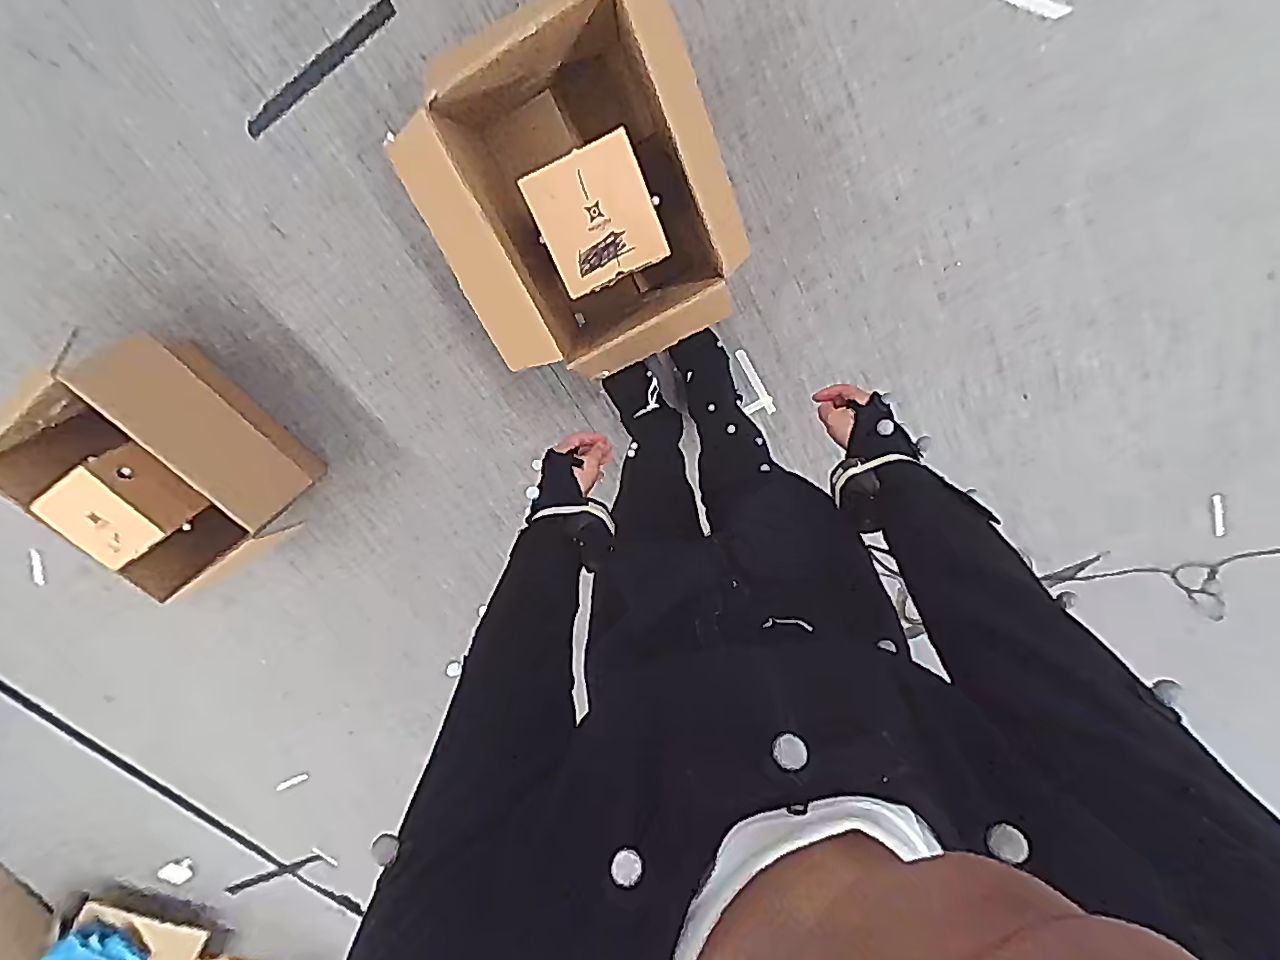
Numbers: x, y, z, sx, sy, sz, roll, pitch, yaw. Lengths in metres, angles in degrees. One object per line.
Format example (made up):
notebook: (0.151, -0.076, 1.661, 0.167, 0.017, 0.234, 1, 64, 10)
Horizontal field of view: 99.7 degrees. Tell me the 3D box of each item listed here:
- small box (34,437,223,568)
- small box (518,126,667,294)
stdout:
small box: (-1.005, 0.035, 1.079, 0.168, 0.176, 0.179, -29, 114, 15)
small box: (-0.067, -0.416, 0.849, 0.168, 0.176, 0.179, -22, 113, 8)
